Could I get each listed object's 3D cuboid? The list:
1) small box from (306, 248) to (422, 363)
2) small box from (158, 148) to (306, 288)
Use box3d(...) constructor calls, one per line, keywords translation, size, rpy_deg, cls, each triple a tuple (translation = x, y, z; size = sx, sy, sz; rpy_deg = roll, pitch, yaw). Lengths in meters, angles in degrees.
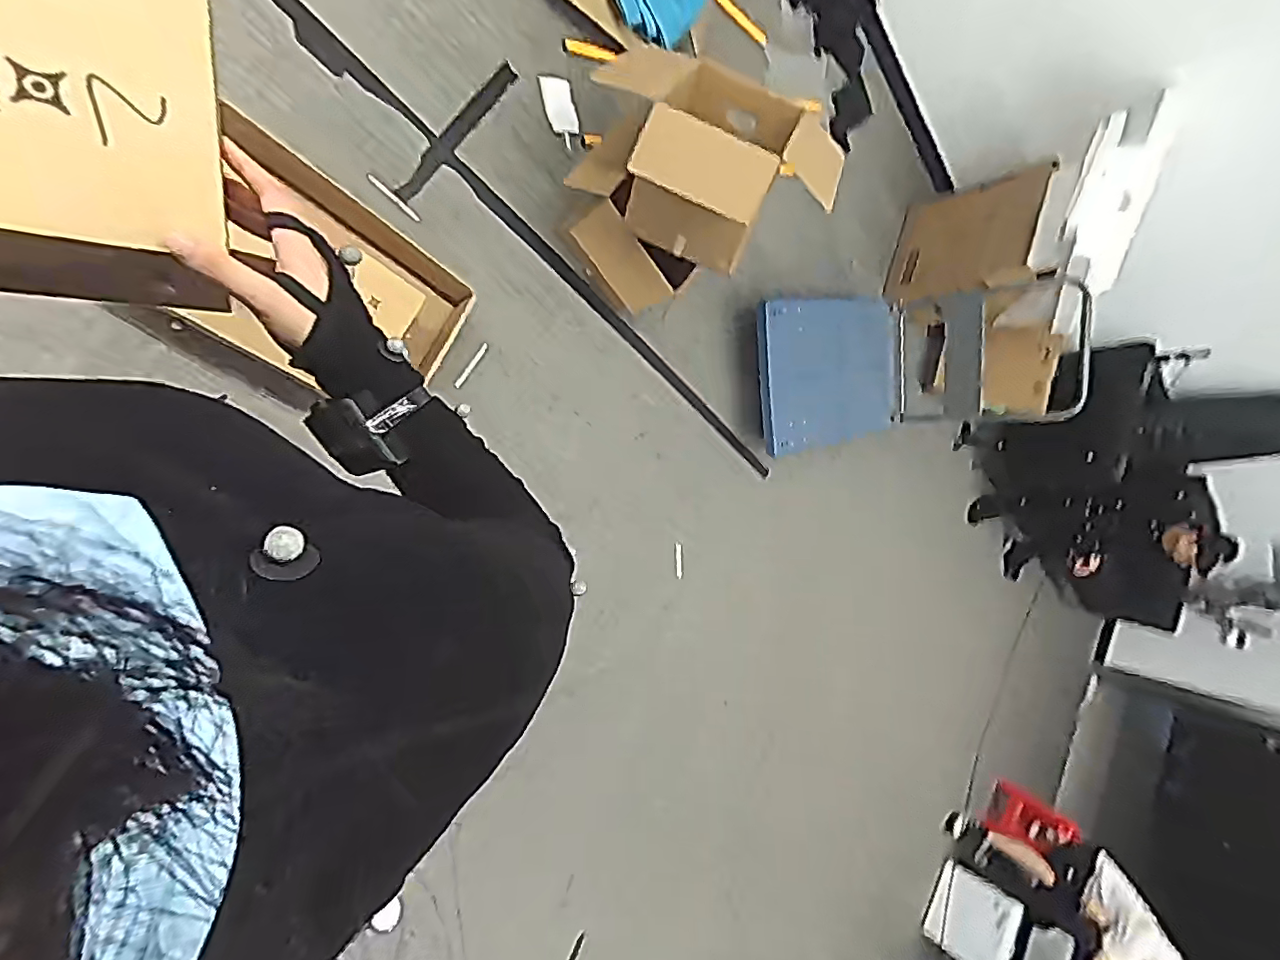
box3d(translation=(-0.633, -0.386, 1.229), size=(0.168, 0.176, 0.179), rpy_deg=(34, 75, -33), cls="small box")
box3d(translation=(-0.811, -0.508, 1.084), size=(0.179, 0.176, 0.168), rpy_deg=(33, 75, -35), cls="small box")
